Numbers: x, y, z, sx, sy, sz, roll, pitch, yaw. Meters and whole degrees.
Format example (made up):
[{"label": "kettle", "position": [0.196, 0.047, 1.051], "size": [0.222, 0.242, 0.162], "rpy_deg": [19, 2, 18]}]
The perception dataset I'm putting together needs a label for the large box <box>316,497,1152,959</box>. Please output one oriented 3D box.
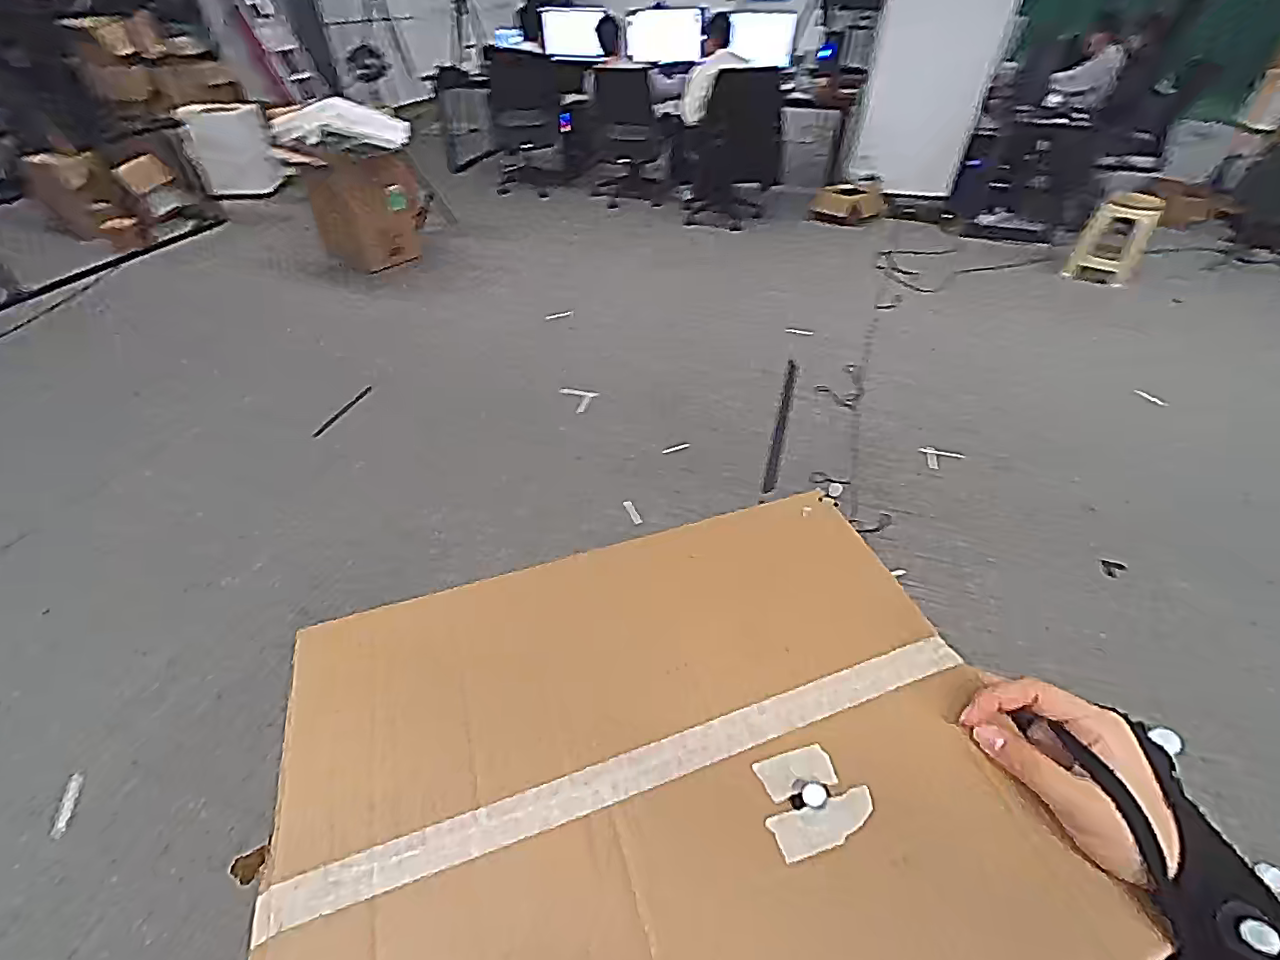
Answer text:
[{"label": "large box", "position": [0.021, 0.265, 0.426], "size": [0.408, 0.320, 0.320], "rpy_deg": [-13, 48, -14]}]
